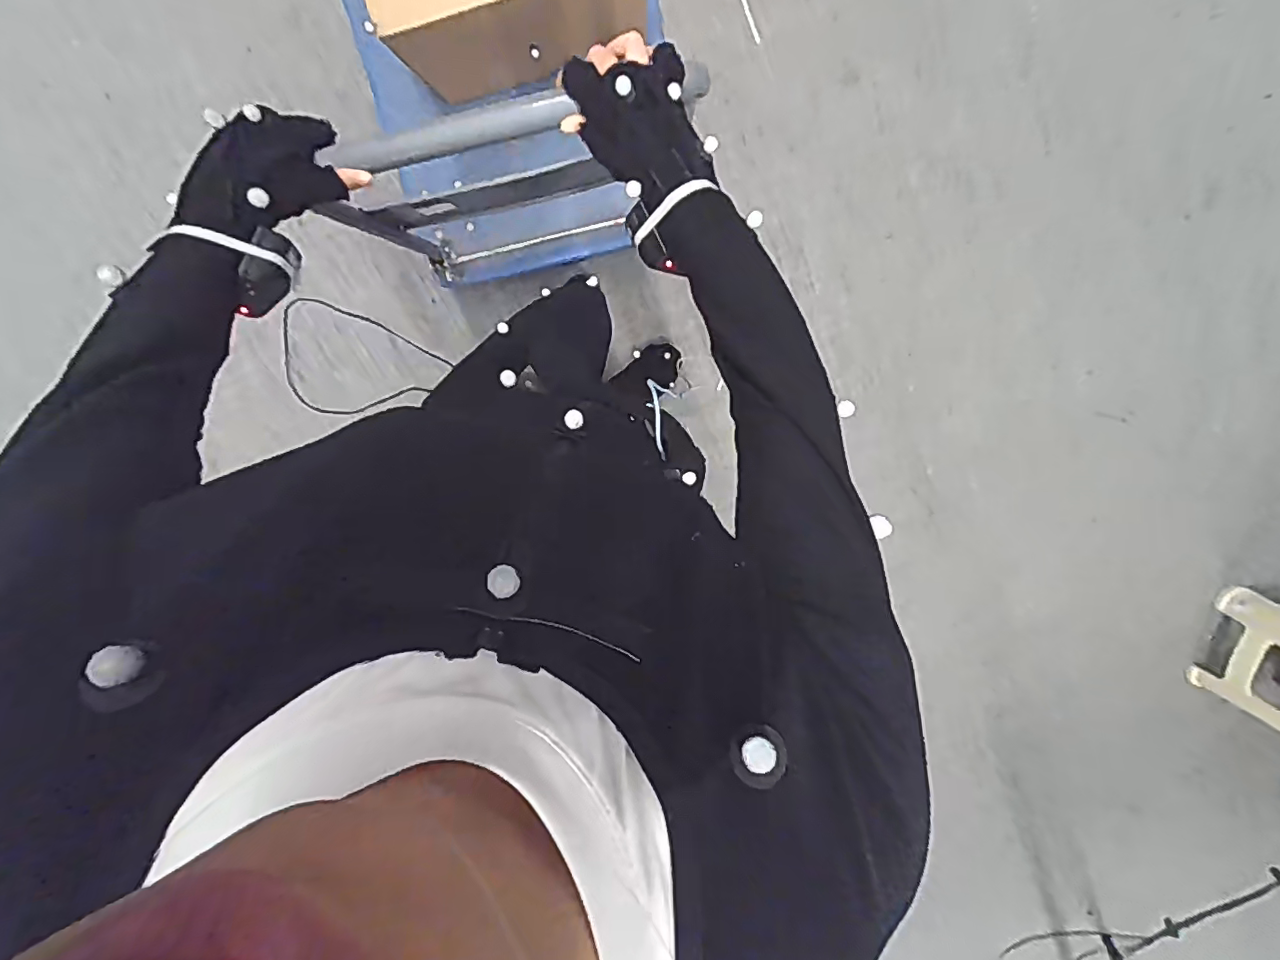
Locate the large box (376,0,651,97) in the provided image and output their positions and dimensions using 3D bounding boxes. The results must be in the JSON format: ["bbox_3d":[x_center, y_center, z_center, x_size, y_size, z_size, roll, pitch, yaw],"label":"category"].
[{"bbox_3d":[-0.211,-0.887,0.866,0.408,0.320,0.320,-12,109,6],"label":"large box"}]
